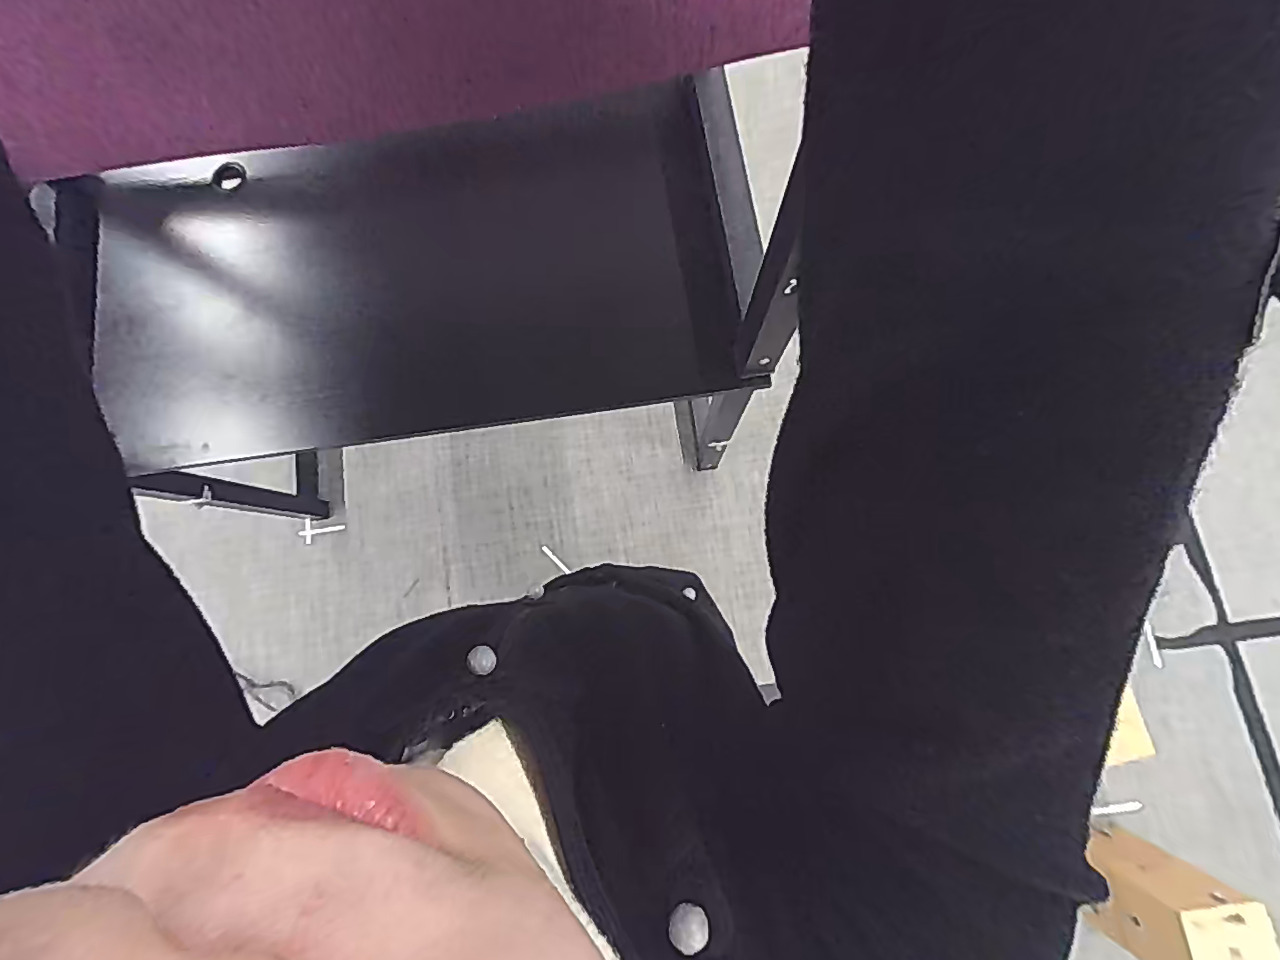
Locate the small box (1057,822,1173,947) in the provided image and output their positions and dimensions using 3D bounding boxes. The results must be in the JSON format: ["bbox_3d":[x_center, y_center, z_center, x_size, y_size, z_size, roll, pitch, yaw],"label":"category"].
[{"bbox_3d":[1.135,0.941,1.271,0.168,0.176,0.179,-6,80,1],"label":"small box"}]

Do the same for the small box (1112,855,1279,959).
[{"bbox_3d":[1.132,0.914,1.110,0.168,0.176,0.179,-7,81,0],"label":"small box"}]
